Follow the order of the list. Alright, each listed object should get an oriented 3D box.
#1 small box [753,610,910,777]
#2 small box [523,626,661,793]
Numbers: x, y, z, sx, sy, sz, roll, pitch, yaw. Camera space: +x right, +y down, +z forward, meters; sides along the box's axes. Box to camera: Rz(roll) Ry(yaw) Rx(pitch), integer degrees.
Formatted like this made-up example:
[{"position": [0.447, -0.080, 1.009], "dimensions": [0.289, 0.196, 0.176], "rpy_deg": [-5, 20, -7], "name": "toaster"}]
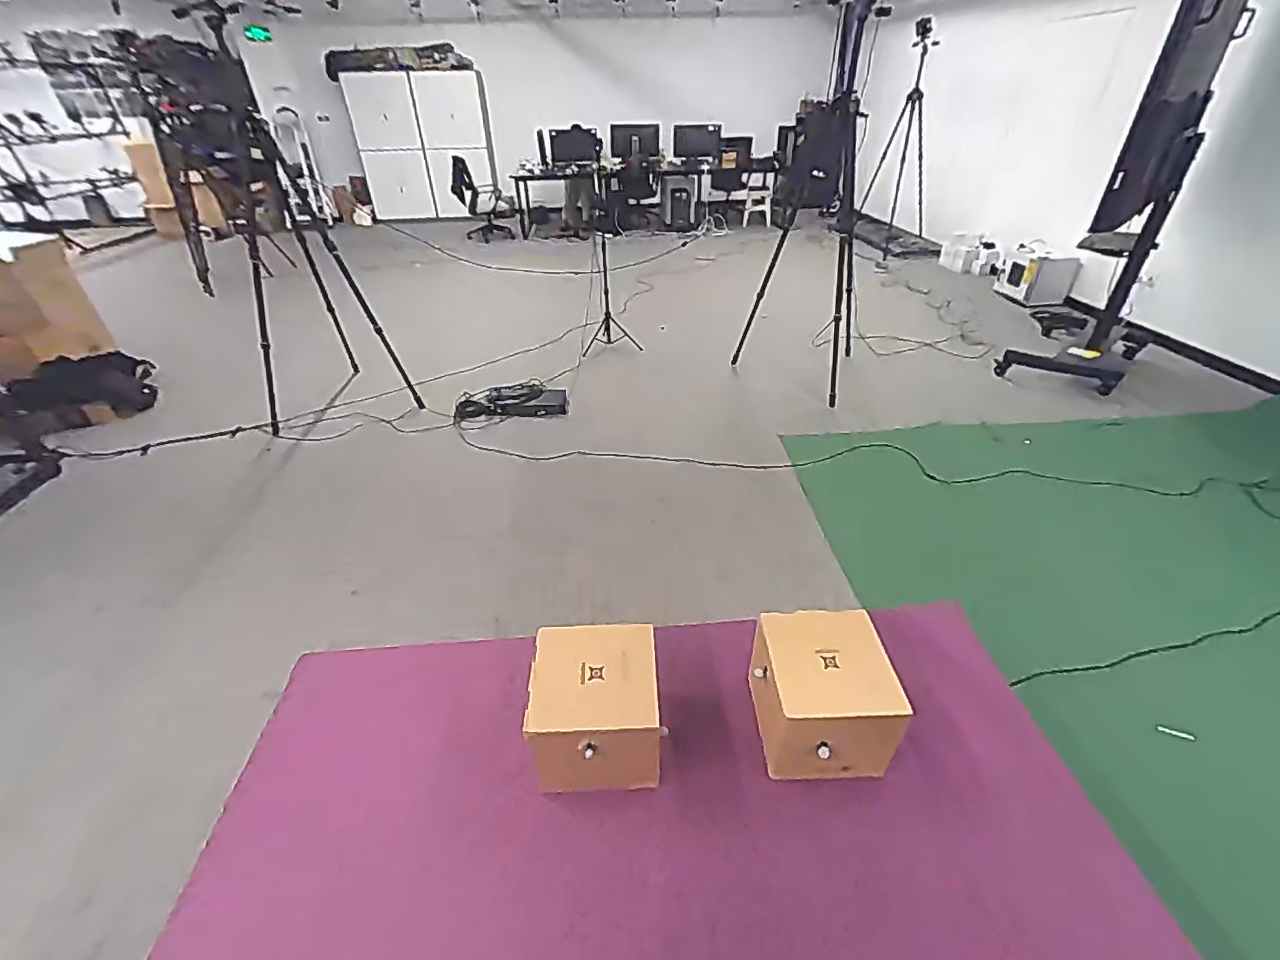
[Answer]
[{"position": [0.267, 0.317, 0.799], "dimensions": [0.168, 0.176, 0.179], "rpy_deg": [-2, 35, 0], "name": "small box"}, {"position": [-0.061, 0.336, 0.792], "dimensions": [0.179, 0.176, 0.168], "rpy_deg": [-2, 36, 0], "name": "small box"}]
